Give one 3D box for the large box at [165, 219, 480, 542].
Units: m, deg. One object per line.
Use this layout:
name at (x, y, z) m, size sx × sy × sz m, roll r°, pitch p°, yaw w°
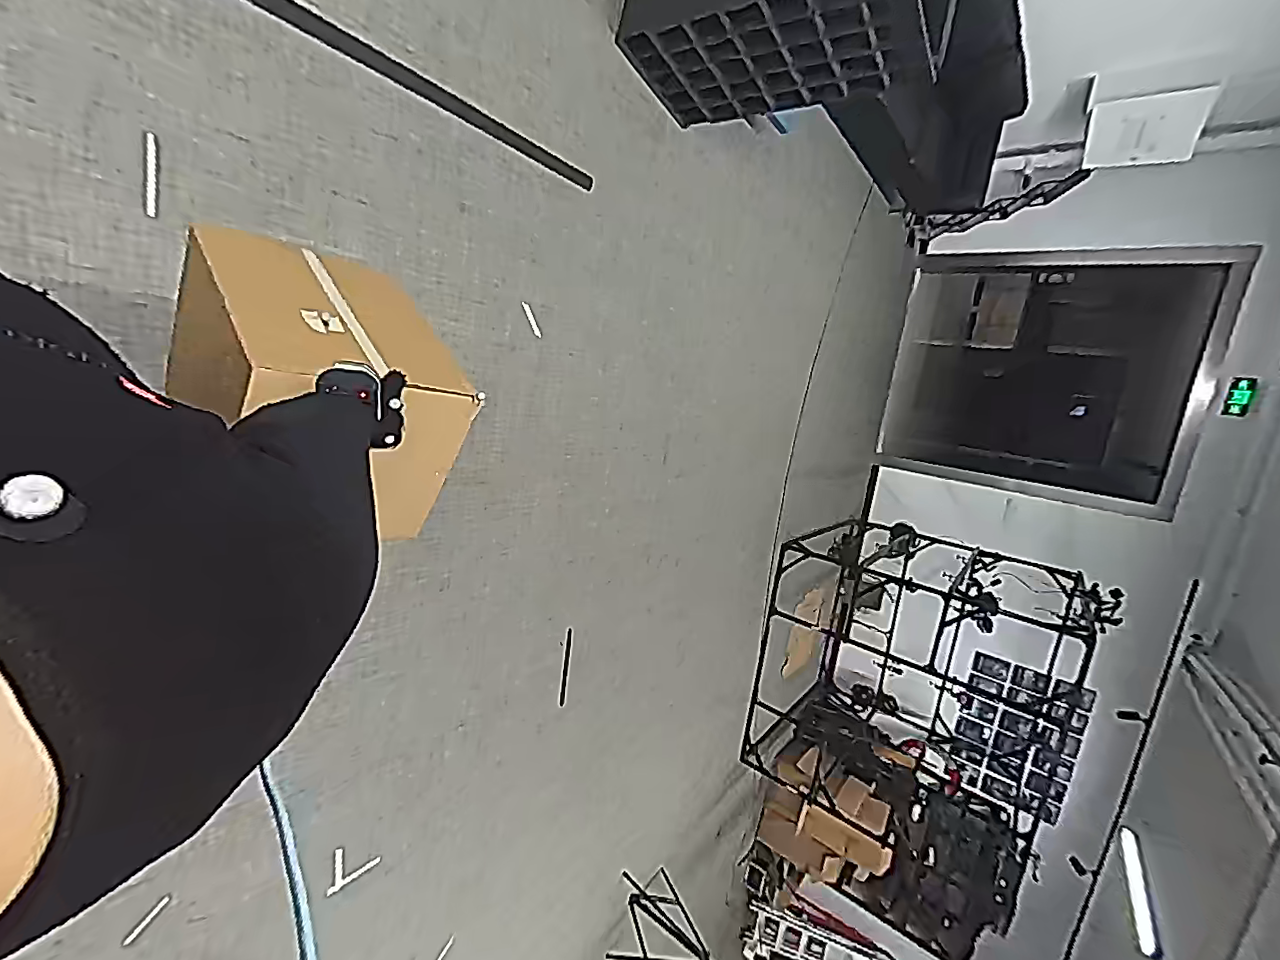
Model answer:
large box at (-0.547, -0.154, 0.913) m, size 0.320 × 0.408 × 0.320 m, roll -1°, pitch 134°, yaw -50°
